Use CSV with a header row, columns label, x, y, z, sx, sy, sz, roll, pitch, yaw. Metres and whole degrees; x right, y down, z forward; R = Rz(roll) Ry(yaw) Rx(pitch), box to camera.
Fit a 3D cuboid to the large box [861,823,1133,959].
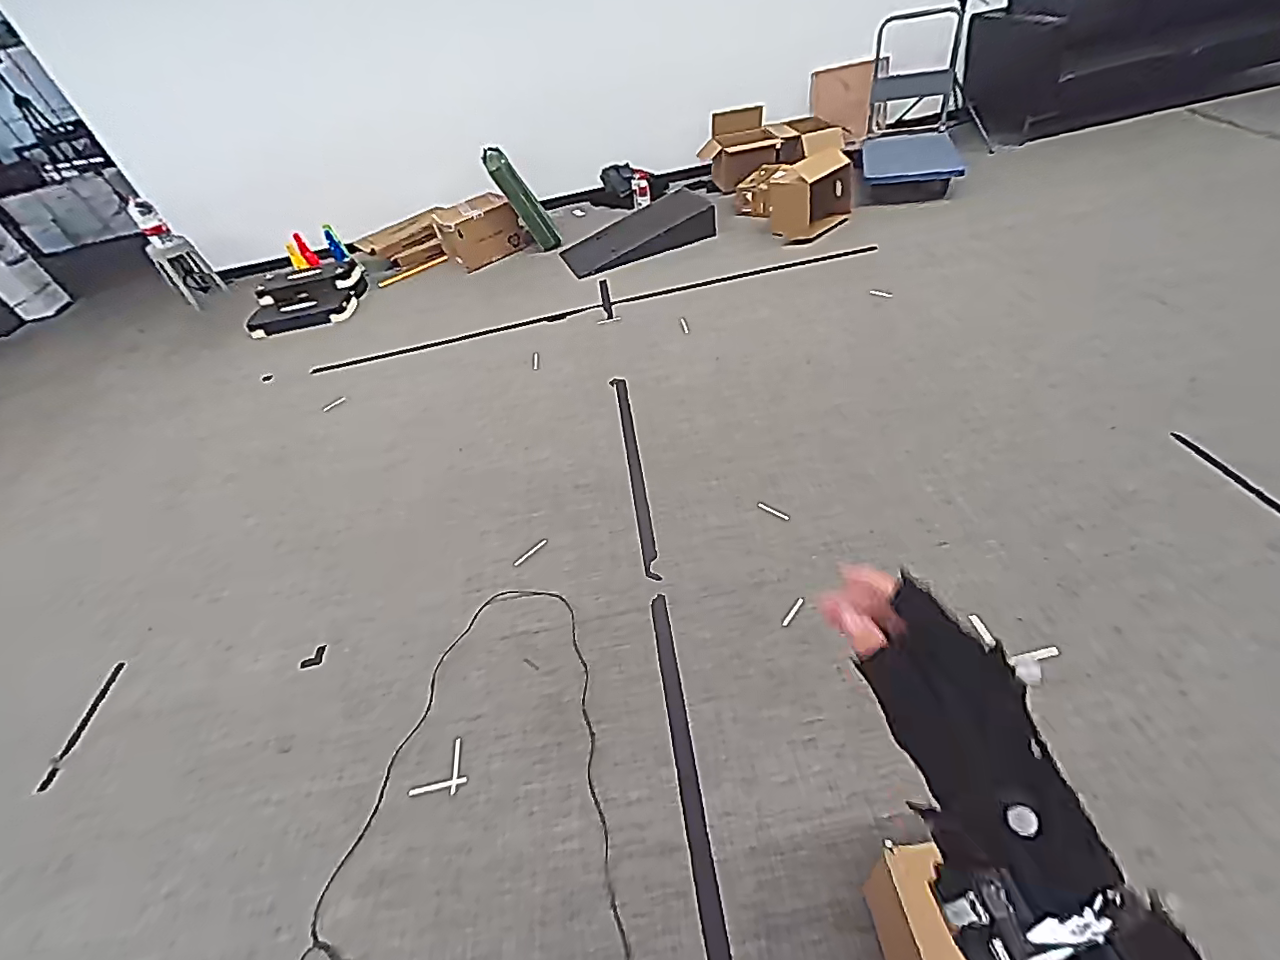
label,x,y,z,sx,sy,sz,roll,pitch,yaw
large box,0.612,0.863,0.898,0.320,0.320,0.408,-10,43,1
